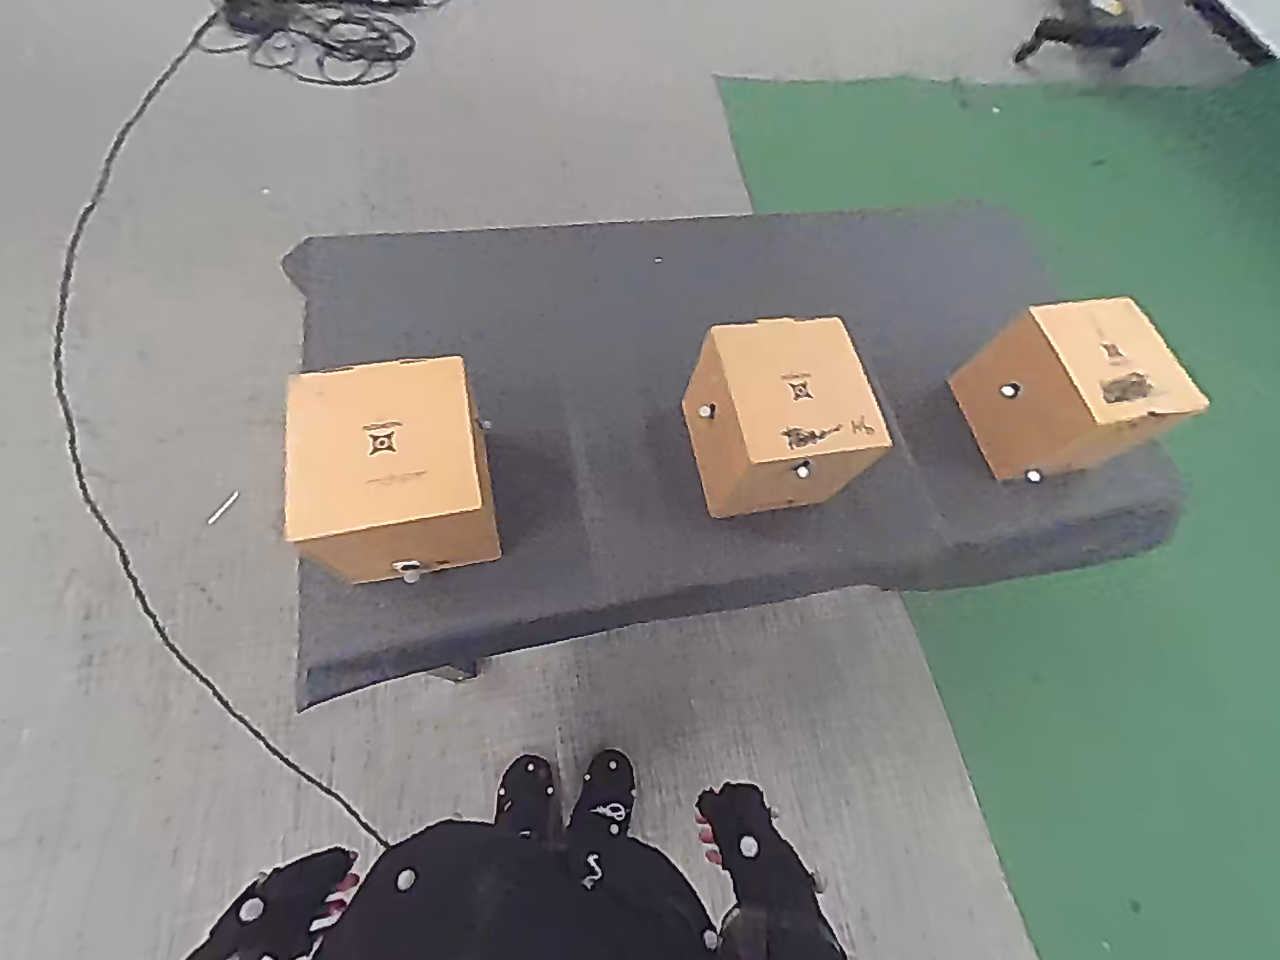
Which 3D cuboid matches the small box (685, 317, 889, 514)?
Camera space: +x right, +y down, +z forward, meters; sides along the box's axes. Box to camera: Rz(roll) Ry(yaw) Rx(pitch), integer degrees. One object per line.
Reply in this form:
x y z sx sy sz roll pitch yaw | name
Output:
0.163 -0.075 0.669 0.168 0.176 0.179 -8 67 -11 | small box

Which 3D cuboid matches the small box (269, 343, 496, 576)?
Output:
-0.249 -0.015 0.562 0.168 0.176 0.179 -9 68 -10 | small box

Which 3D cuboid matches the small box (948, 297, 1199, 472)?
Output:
0.574 -0.122 0.745 0.168 0.176 0.179 -8 67 -11 | small box
